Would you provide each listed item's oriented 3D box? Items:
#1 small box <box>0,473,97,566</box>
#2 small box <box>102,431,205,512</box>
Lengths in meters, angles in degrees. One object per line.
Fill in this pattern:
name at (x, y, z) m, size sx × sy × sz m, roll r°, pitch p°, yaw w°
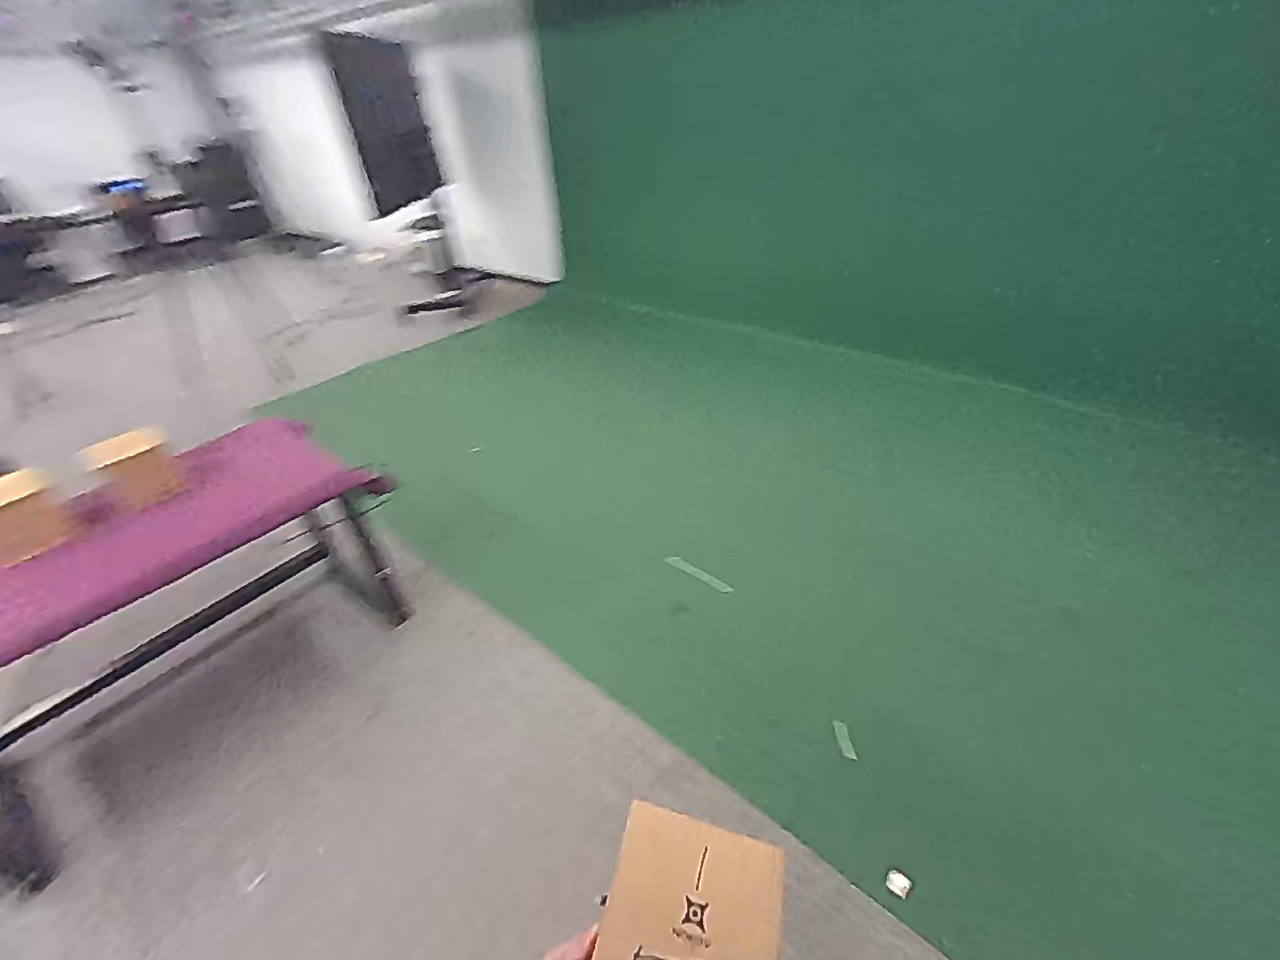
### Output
small box at (-1.690, 0.113, 1.515) m, size 0.179 × 0.176 × 0.168 m, roll 24°, pitch 45°, yaw 32°
small box at (-1.504, -0.025, 1.677) m, size 0.179 × 0.176 × 0.168 m, roll 25°, pitch 46°, yaw 33°
